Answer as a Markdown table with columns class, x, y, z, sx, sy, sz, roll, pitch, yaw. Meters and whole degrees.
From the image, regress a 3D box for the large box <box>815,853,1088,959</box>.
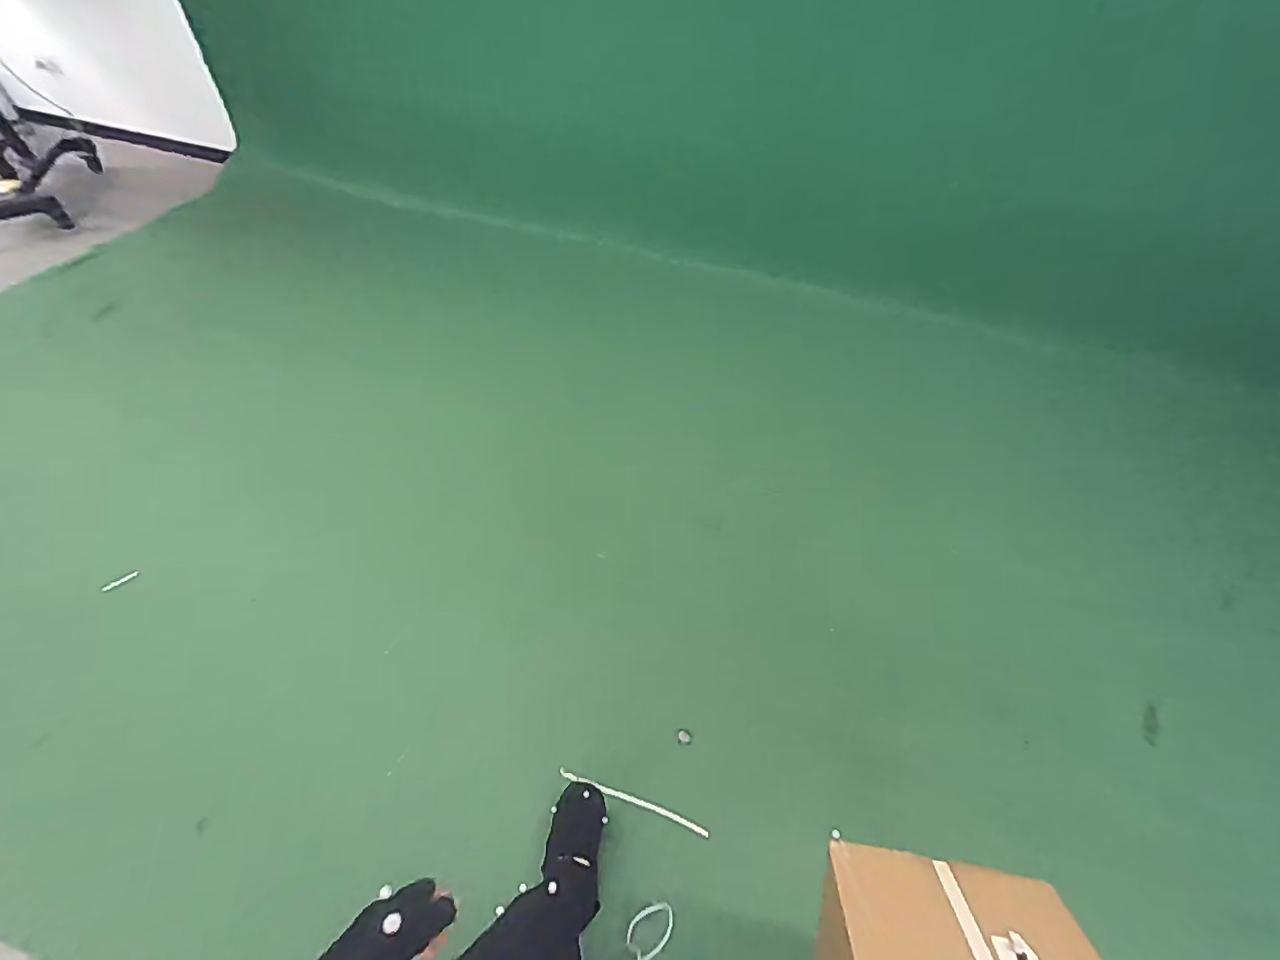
| class | x | y | z | sx | sy | sz | roll | pitch | yaw |
| --- | --- | --- | --- | --- | --- | --- | --- | --- | --- |
| large box | 0.396 | 0.757 | 0.633 | 0.320 | 0.320 | 0.408 | 7 | 8 | 9 |
